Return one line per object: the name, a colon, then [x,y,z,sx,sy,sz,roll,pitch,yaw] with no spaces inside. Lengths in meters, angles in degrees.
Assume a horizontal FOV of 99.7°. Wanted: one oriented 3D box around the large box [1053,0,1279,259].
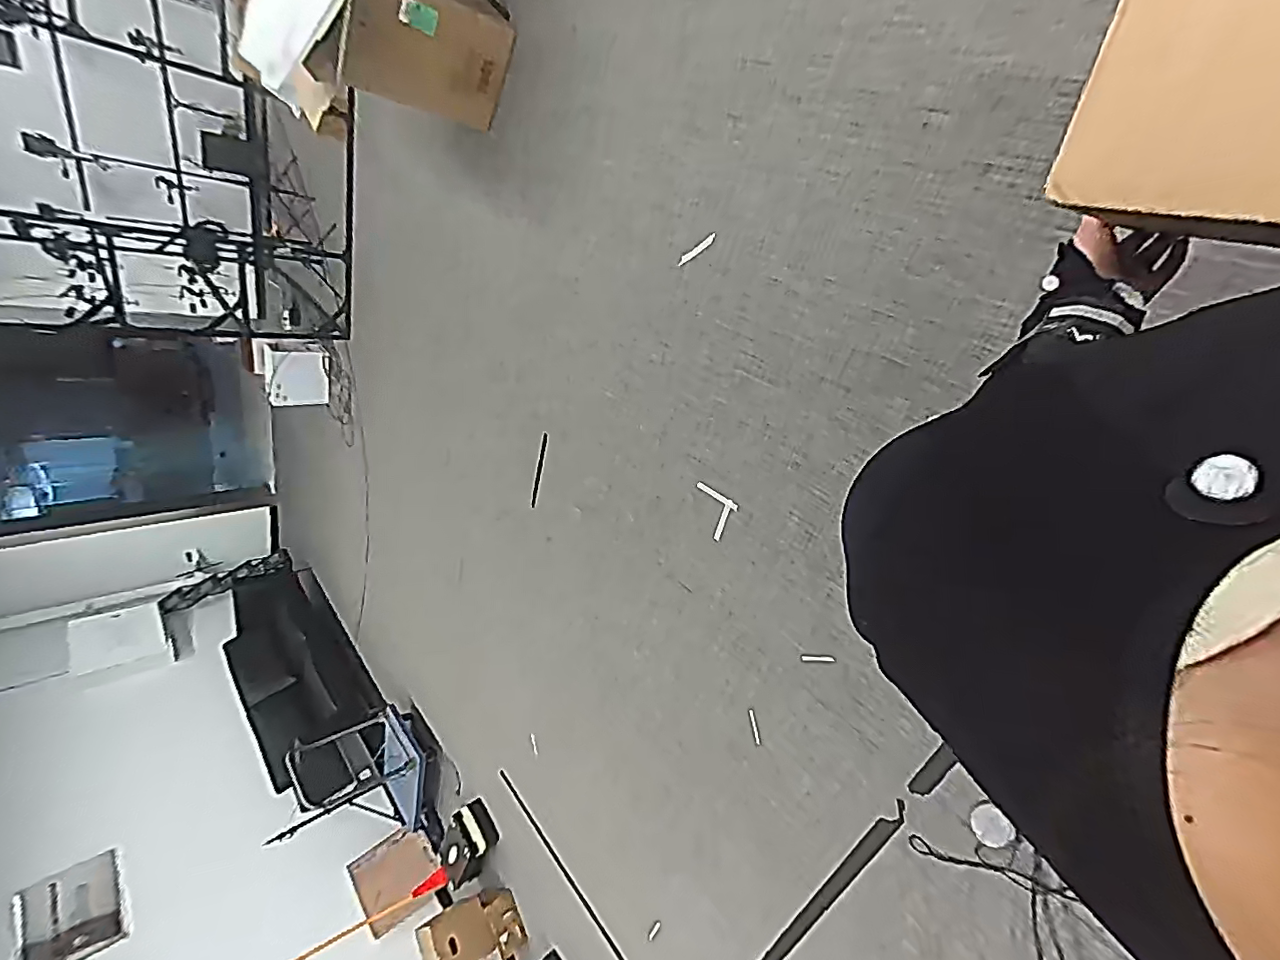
large box: [0.501,-0.253,0.233,0.408,0.320,0.320,30,126,38]
